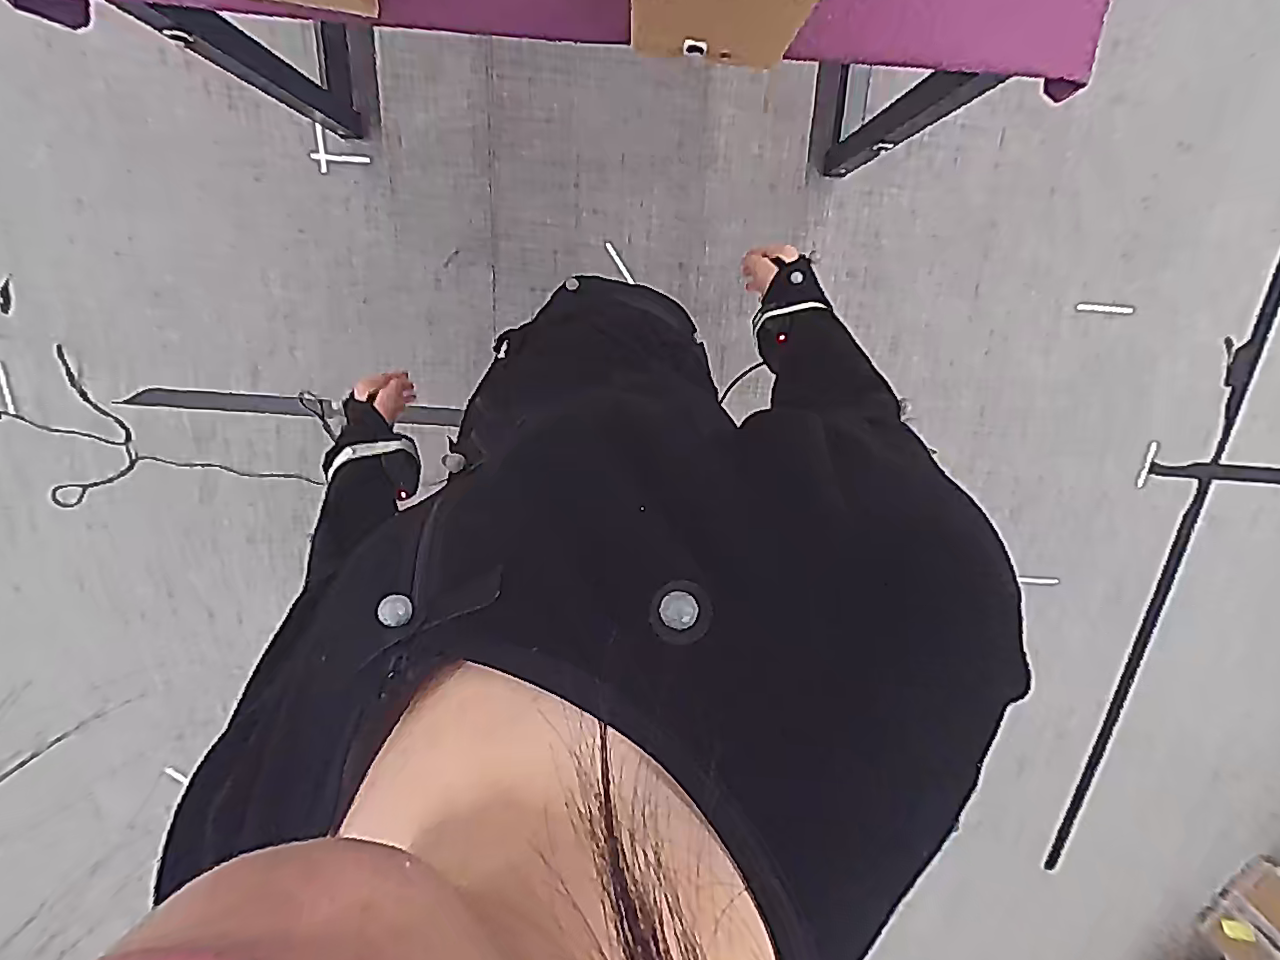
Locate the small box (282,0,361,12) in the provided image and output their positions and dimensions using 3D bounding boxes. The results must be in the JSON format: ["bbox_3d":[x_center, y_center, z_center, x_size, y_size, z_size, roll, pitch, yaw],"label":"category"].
[{"bbox_3d":[-0.354,-0.562,0.478,0.179,0.176,0.168,7,107,-4],"label":"small box"}]

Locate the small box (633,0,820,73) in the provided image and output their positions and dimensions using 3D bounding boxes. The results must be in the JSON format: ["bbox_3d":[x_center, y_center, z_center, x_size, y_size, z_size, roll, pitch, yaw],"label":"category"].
[{"bbox_3d":[0.081,-0.523,0.507,0.168,0.176,0.179,4,109,-2],"label":"small box"}]
